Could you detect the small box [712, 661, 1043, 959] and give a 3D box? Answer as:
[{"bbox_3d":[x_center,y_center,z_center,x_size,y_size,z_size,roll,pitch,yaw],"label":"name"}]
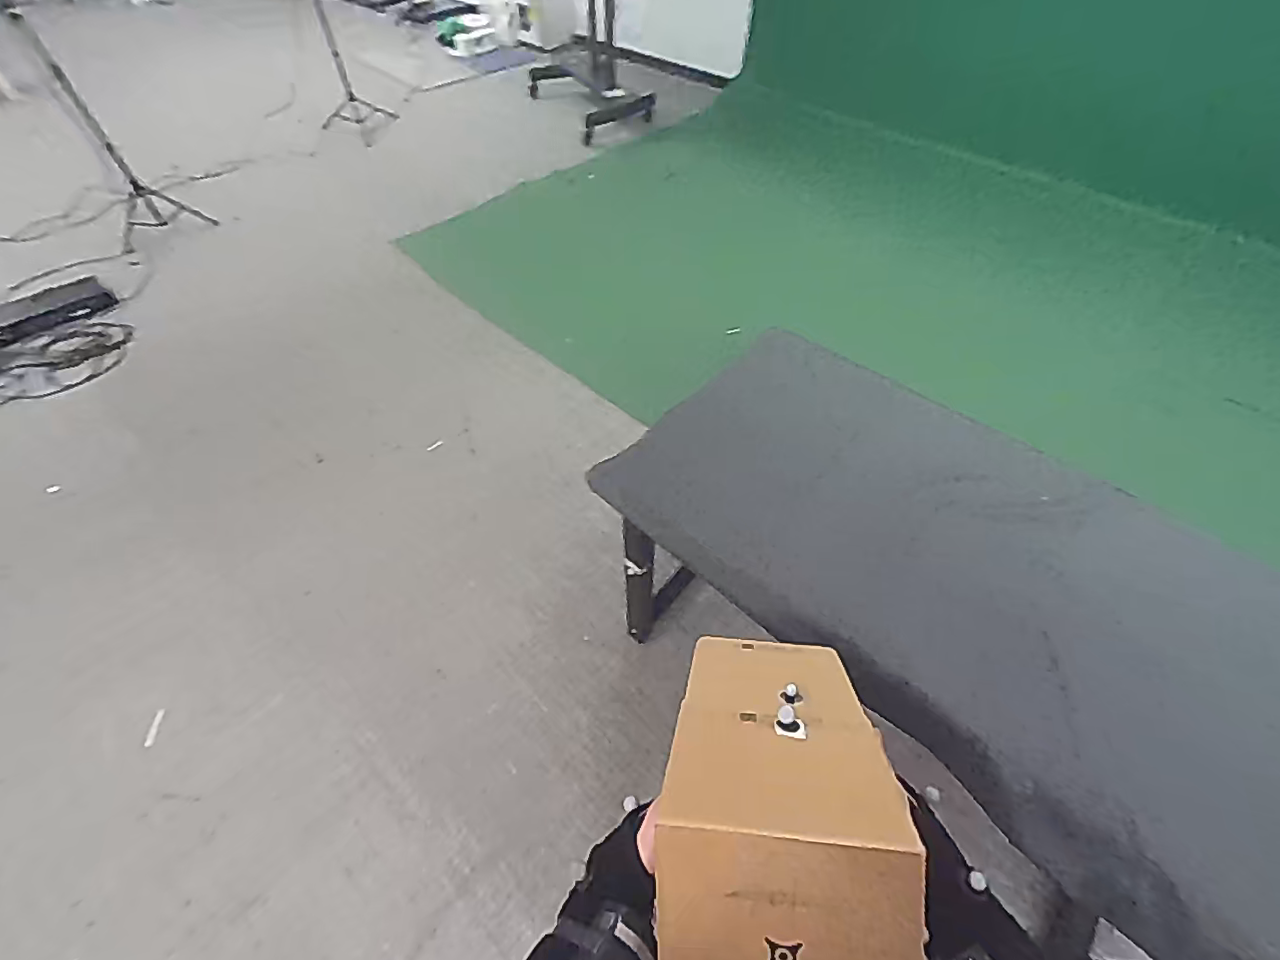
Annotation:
[{"bbox_3d":[0.191,0.284,0.466,0.179,0.168,0.176,28,81,-2],"label":"small box"}]
